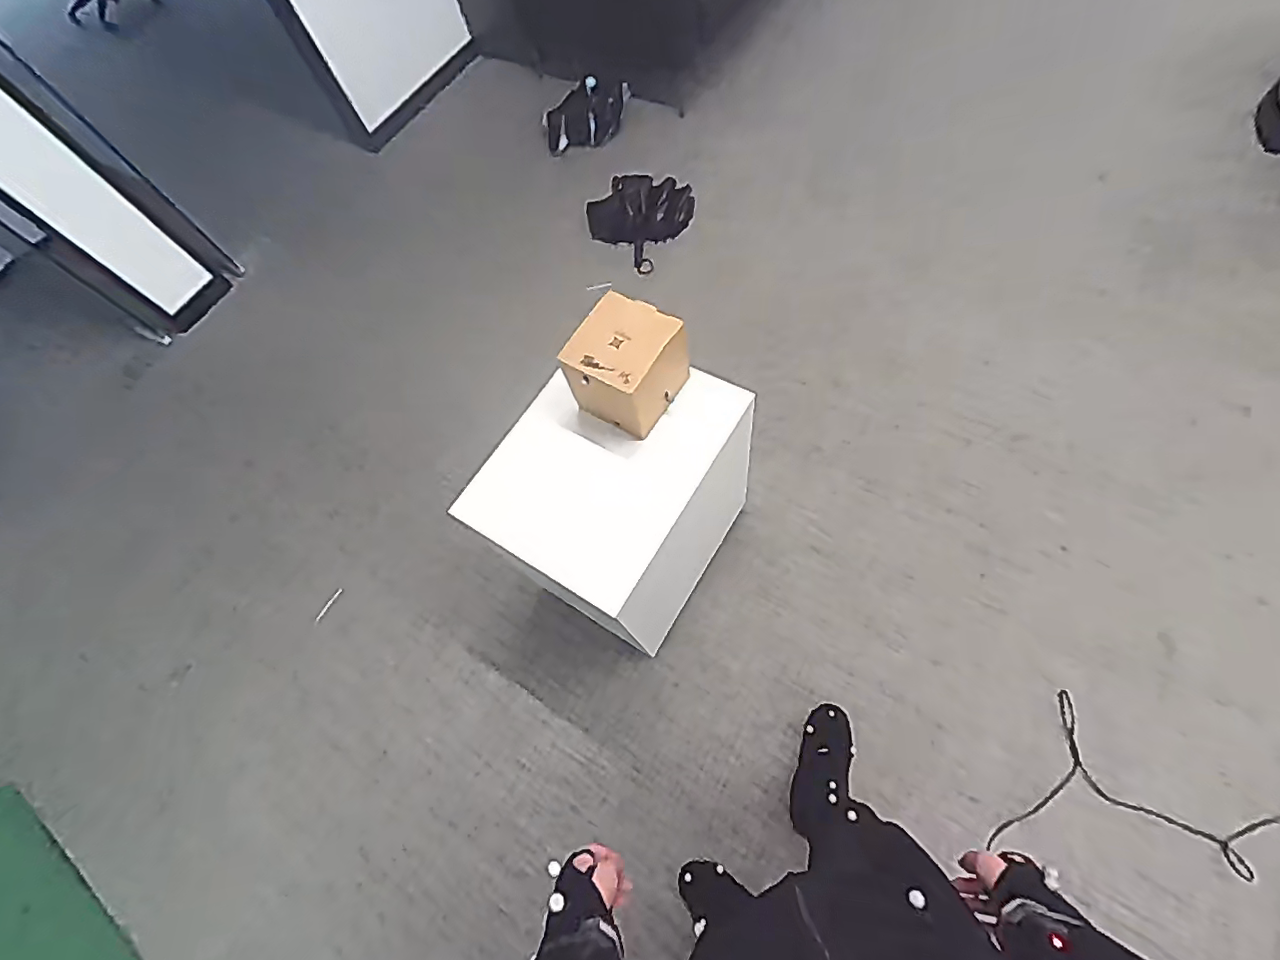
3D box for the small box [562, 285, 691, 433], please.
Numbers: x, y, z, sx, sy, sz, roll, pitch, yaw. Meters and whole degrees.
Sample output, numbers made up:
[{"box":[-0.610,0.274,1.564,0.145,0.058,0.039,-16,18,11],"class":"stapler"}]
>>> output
[{"box":[-0.017,-0.222,1.015,0.168,0.176,0.179,30,72,19],"class":"small box"}]
